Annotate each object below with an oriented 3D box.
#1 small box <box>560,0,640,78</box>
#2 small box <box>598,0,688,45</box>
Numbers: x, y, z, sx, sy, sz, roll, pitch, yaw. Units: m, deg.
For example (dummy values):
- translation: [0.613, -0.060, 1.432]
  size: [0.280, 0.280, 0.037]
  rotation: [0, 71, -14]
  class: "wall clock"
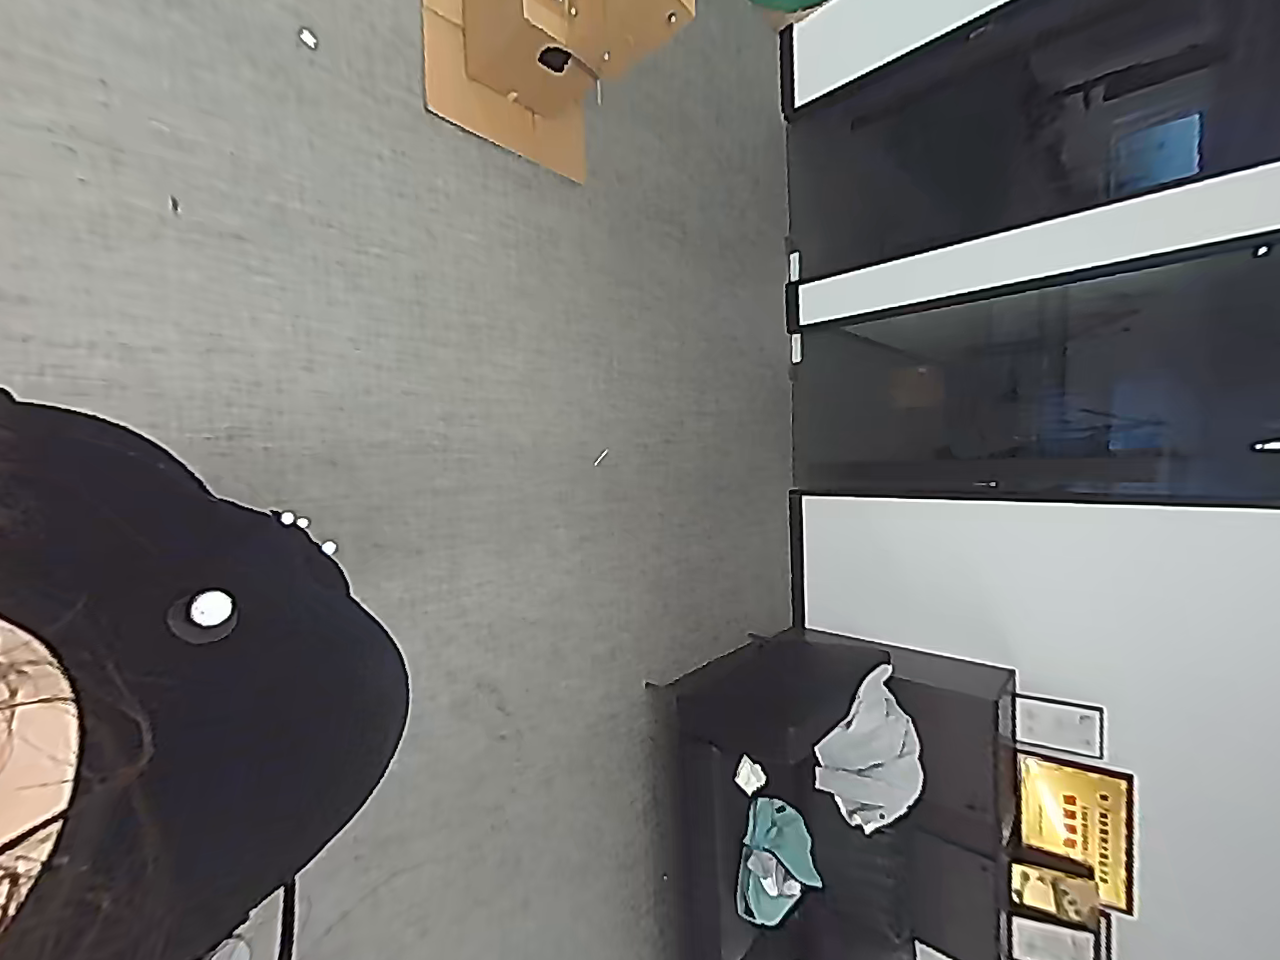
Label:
- translation: [-0.116, -1.311, 1.546]
  size: [0.168, 0.176, 0.179]
  rotation: [1, 87, -47]
  class: "small box"
- translation: [0.009, -1.311, 1.434]
  size: [0.179, 0.176, 0.168]
  rotation: [2, 87, -47]
  class: "small box"
